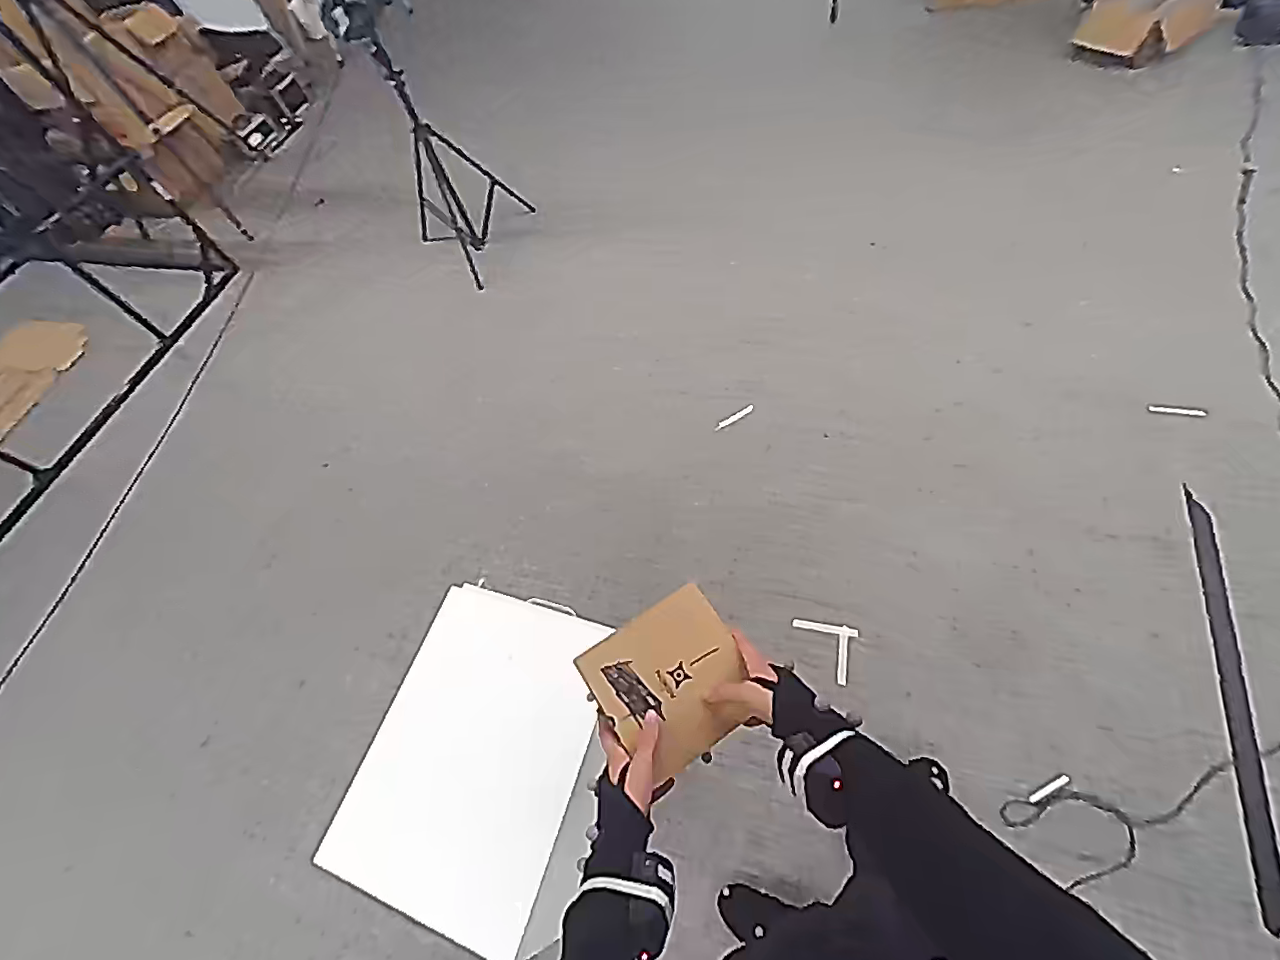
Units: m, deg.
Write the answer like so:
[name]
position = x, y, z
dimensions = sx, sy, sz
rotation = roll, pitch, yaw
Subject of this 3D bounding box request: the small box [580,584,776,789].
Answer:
[small box]
position = 0.044, 0.267, 0.697
dimensions = 0.179, 0.176, 0.168
rotation = -30, 67, -14
